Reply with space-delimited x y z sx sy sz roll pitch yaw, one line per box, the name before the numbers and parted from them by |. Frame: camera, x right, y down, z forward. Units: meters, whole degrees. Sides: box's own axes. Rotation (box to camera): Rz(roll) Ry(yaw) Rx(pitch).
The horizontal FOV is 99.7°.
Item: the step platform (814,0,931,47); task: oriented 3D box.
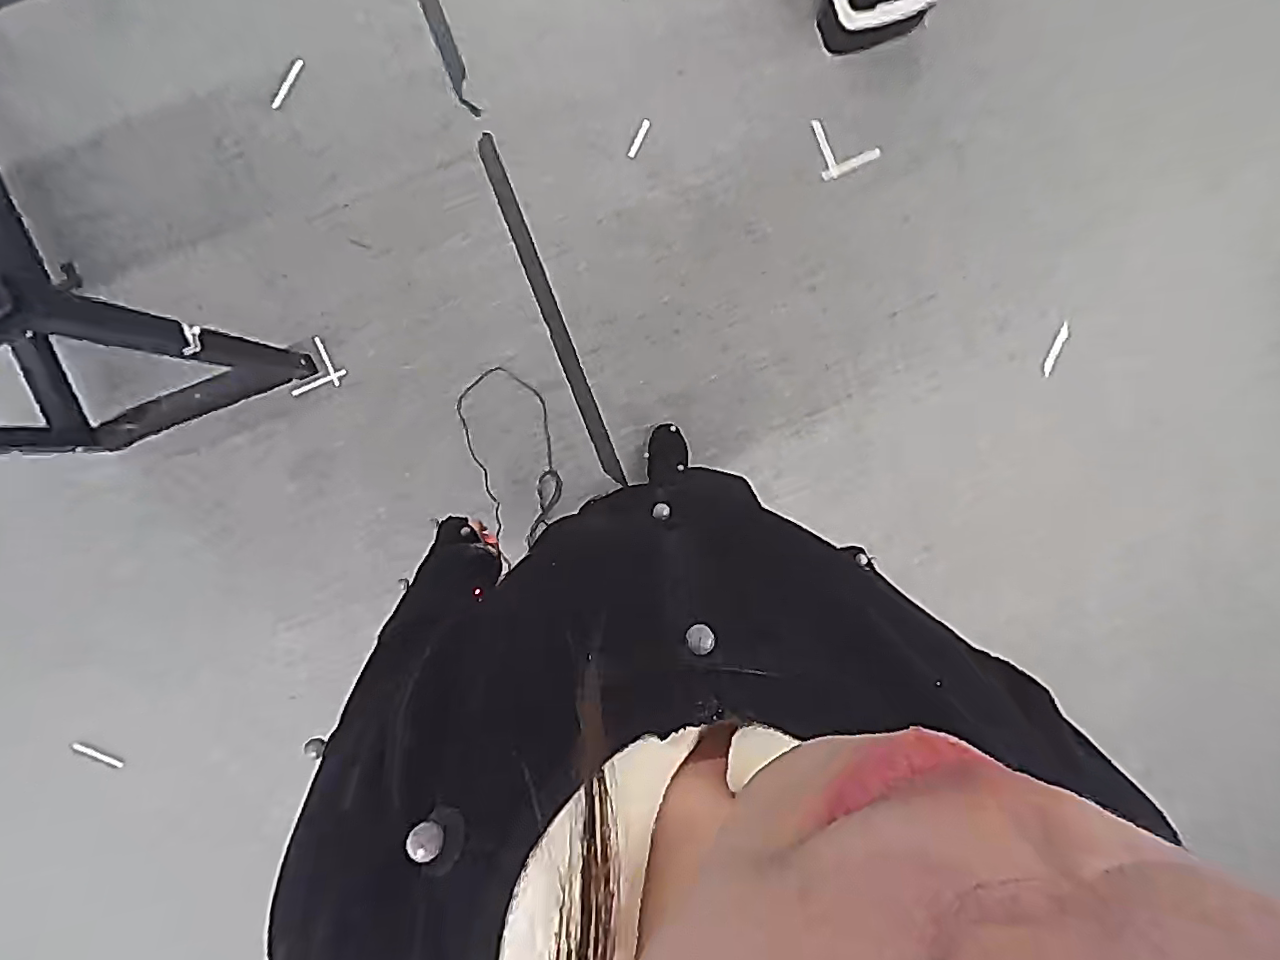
step platform | 0.536 -1.491 1.323 0.286 0.204 0.684 -16 94 -2
